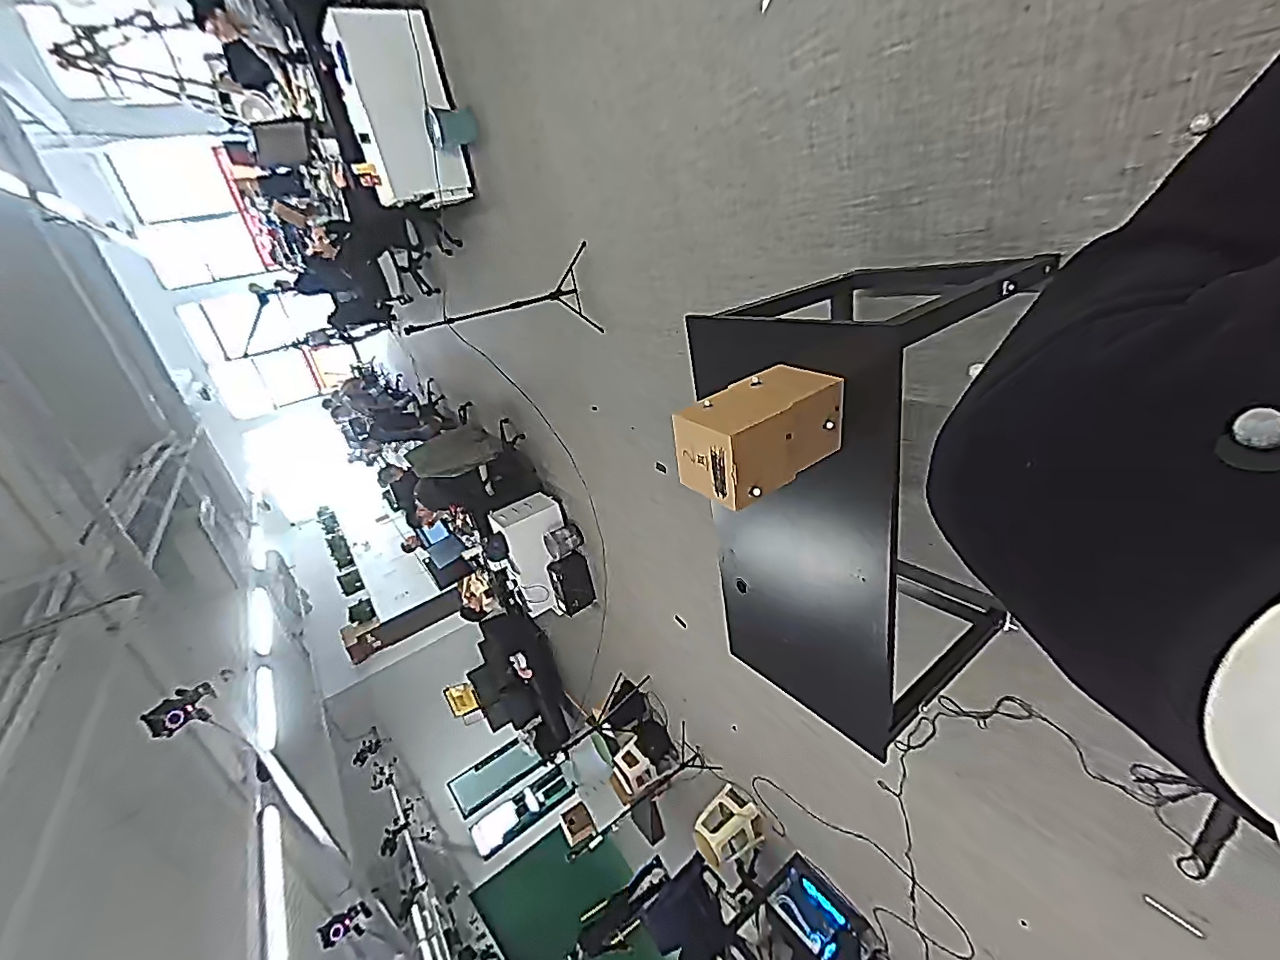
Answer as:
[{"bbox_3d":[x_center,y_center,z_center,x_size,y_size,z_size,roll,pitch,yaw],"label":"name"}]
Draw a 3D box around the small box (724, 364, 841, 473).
[{"bbox_3d":[0.305,-0.142,1.171,0.179,0.176,0.168,31,139,48],"label":"small box"}]
